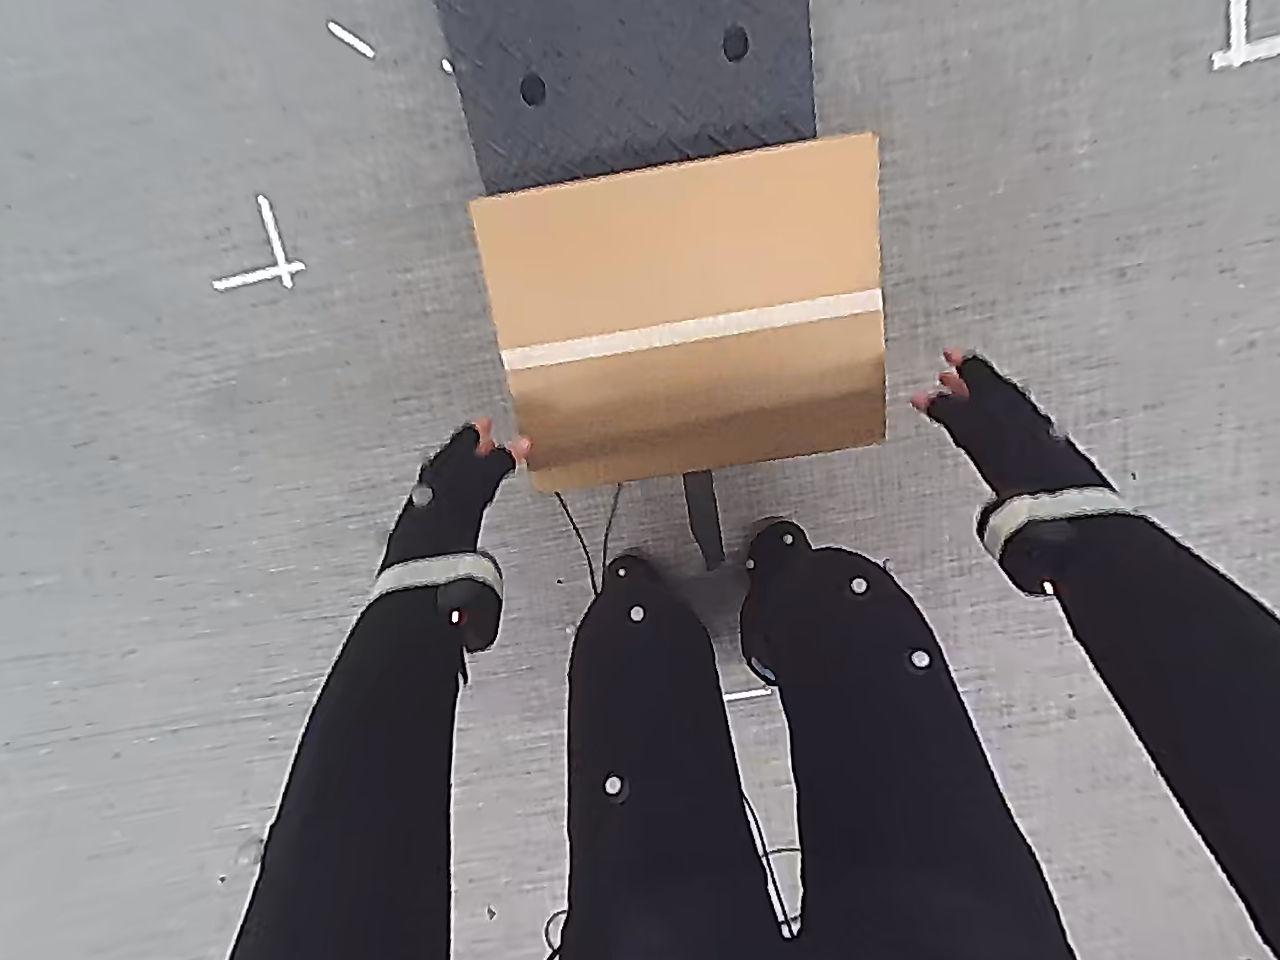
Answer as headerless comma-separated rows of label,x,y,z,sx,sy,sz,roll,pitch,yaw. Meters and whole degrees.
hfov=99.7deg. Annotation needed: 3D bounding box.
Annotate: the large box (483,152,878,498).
large box,0.056,-0.195,0.729,0.408,0.320,0.320,-8,105,2
